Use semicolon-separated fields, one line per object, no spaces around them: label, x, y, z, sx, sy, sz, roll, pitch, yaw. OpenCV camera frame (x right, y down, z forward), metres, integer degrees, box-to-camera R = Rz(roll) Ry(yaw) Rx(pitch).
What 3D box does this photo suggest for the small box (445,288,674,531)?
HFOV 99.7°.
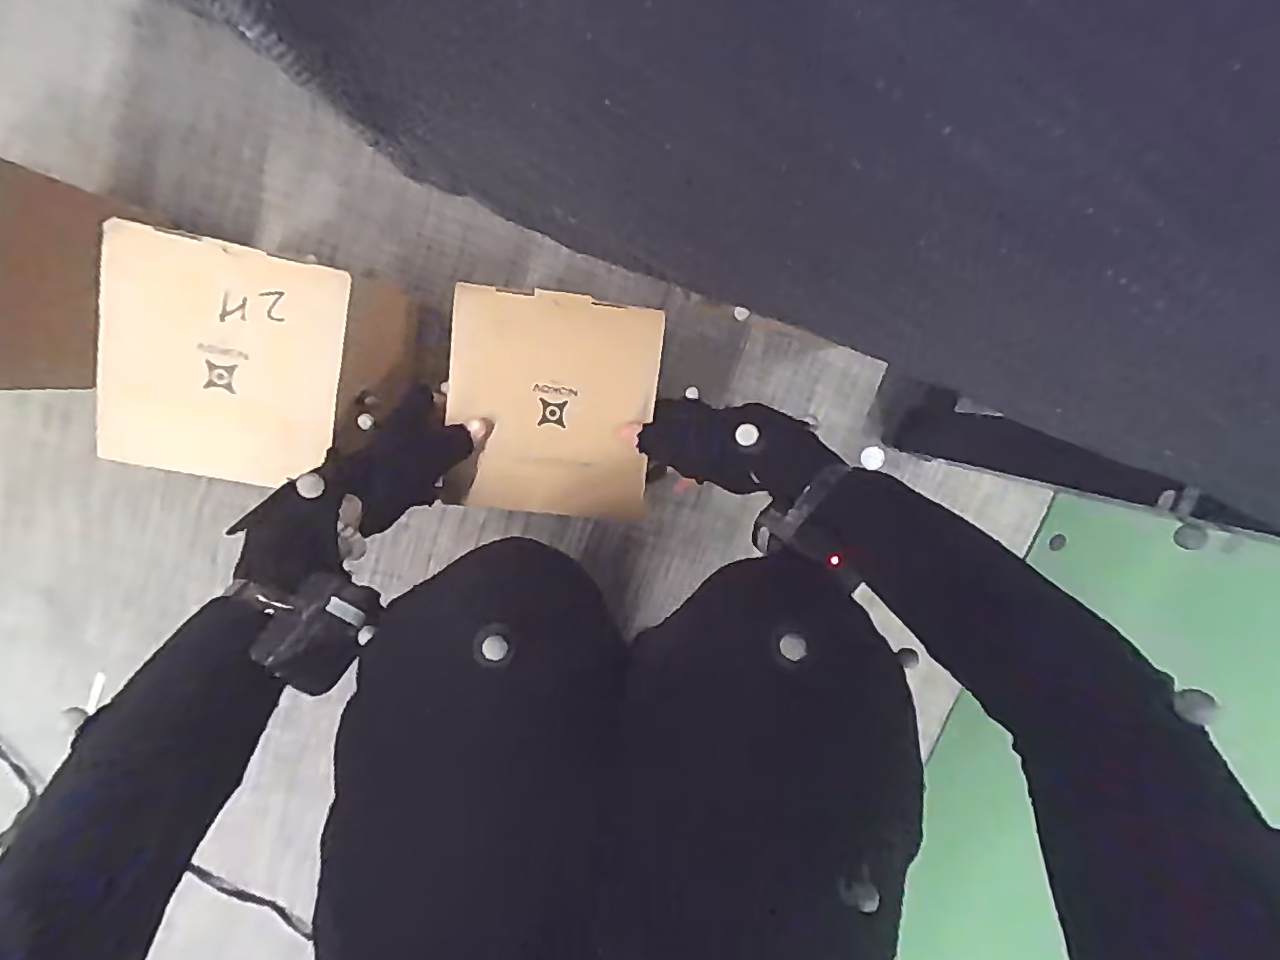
small box;-0.072;-0.065;0.503;0.168;0.176;0.179;6;100;-6
